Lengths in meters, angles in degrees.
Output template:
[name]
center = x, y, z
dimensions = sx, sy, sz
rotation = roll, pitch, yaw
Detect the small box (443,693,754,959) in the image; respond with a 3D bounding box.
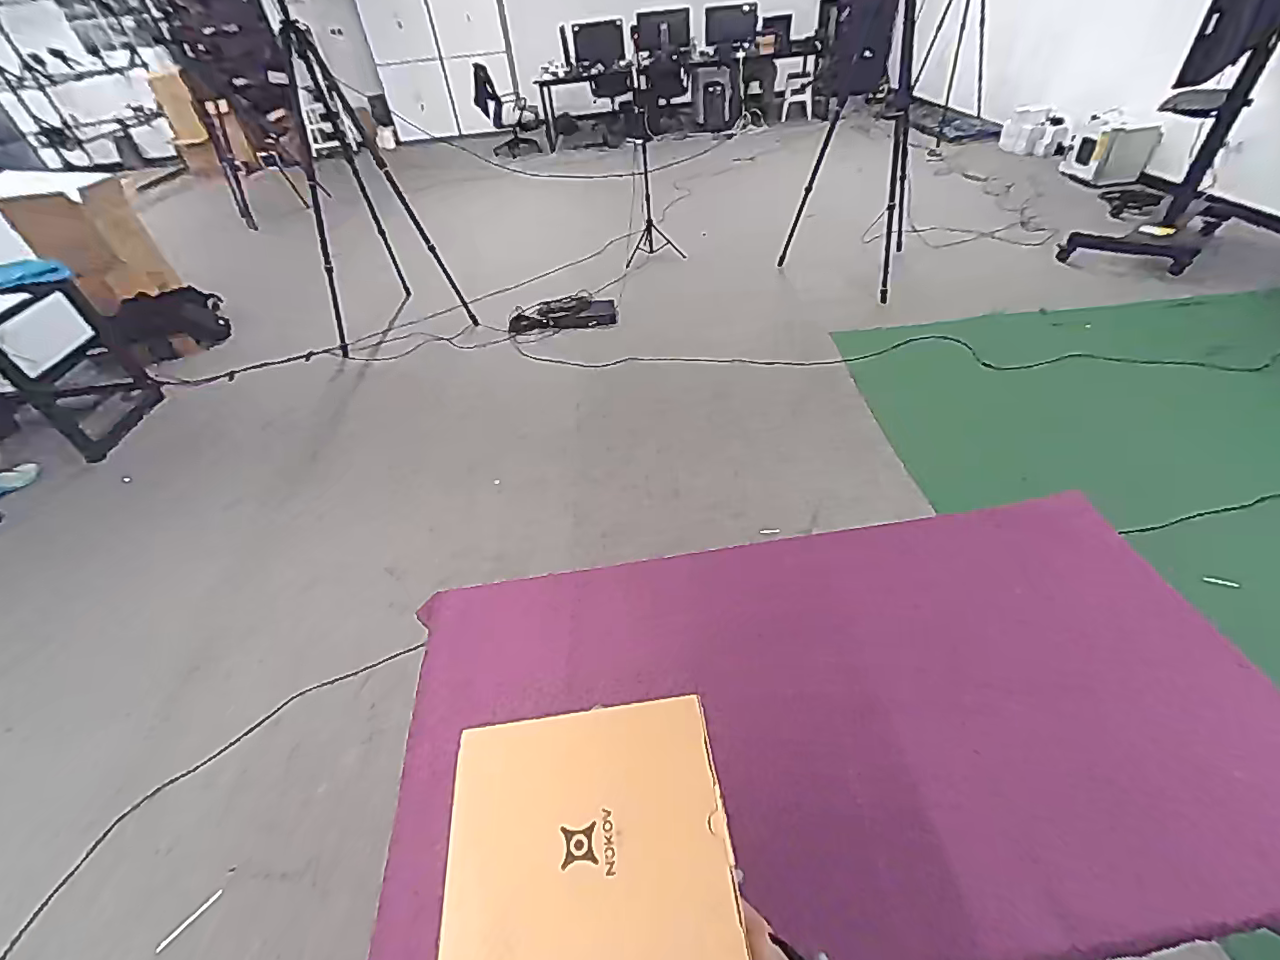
[small box]
center = -0.024, 0.281, 0.396
dimensions = 0.179, 0.176, 0.168
rotation = -8, 46, -2
